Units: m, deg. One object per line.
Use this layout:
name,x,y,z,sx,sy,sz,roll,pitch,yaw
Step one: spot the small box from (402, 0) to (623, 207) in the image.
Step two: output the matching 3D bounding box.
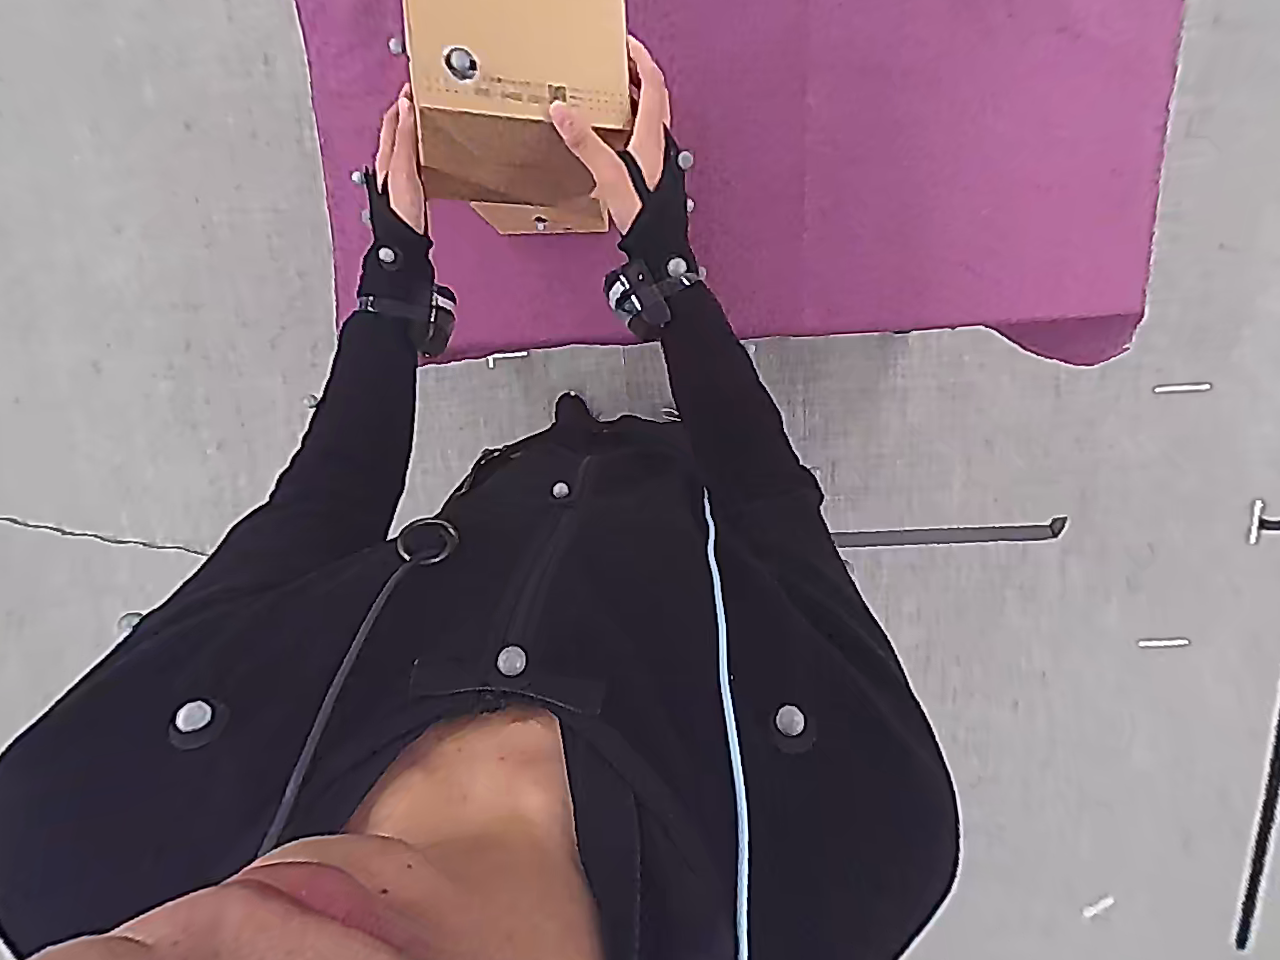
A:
small box,-0.117,-0.364,0.483,0.168,0.179,0.176,-5,96,-19

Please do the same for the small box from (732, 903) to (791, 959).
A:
small box,0.419,1.619,1.881,0.179,0.176,0.168,-5,101,0

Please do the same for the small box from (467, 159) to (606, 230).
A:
small box,-0.134,-0.441,0.719,0.168,0.176,0.179,-1,101,0
